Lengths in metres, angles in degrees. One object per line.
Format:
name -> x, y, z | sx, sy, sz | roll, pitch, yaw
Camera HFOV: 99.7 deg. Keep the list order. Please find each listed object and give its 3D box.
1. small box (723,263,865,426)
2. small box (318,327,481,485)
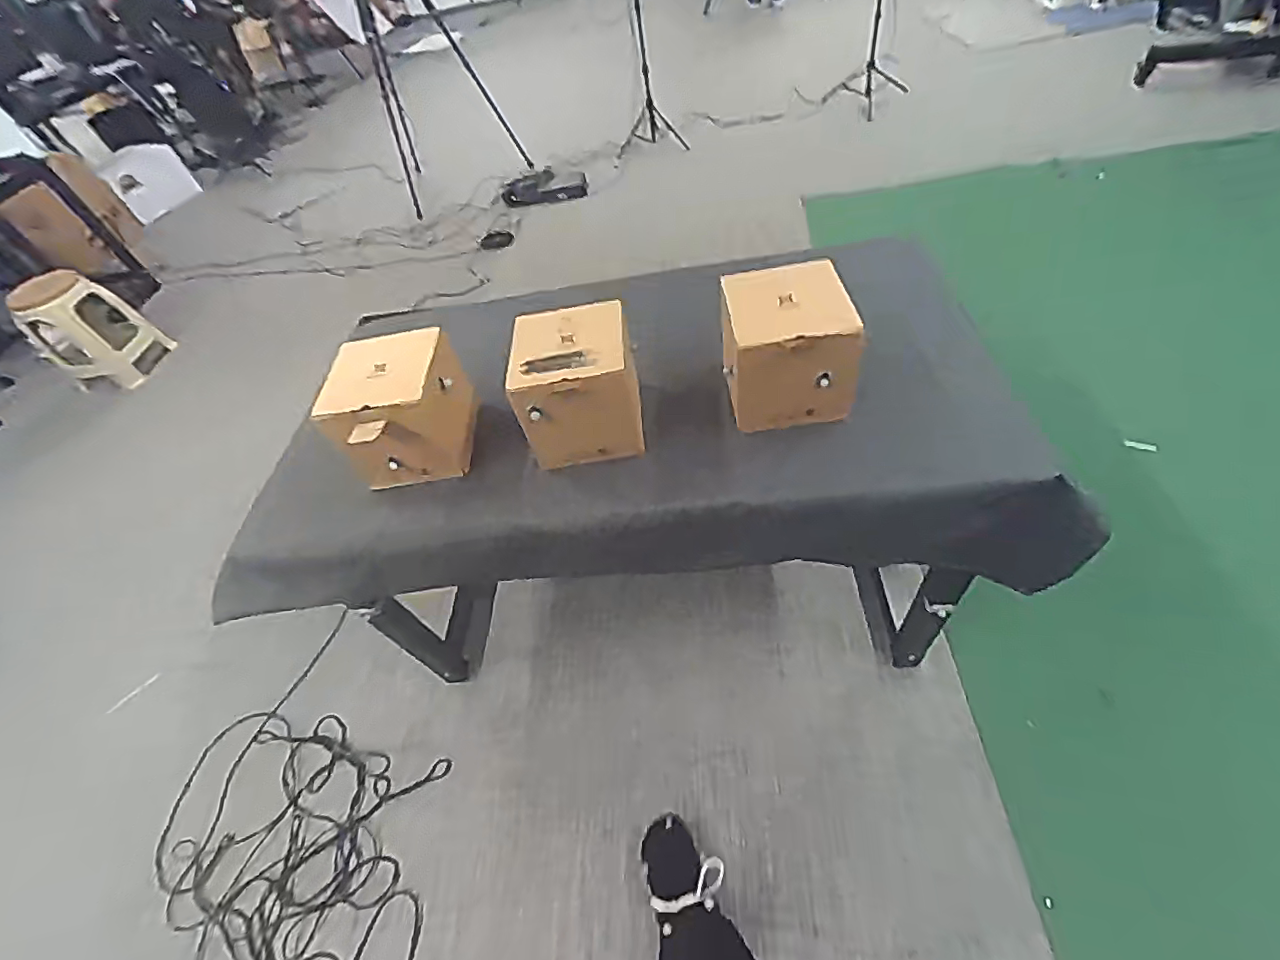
small box -> 0.222, -0.196, 0.817 | 0.168, 0.176, 0.179 | -7, 49, 4
small box -> -0.370, -0.117, 0.872 | 0.168, 0.176, 0.179 | -8, 50, 4
